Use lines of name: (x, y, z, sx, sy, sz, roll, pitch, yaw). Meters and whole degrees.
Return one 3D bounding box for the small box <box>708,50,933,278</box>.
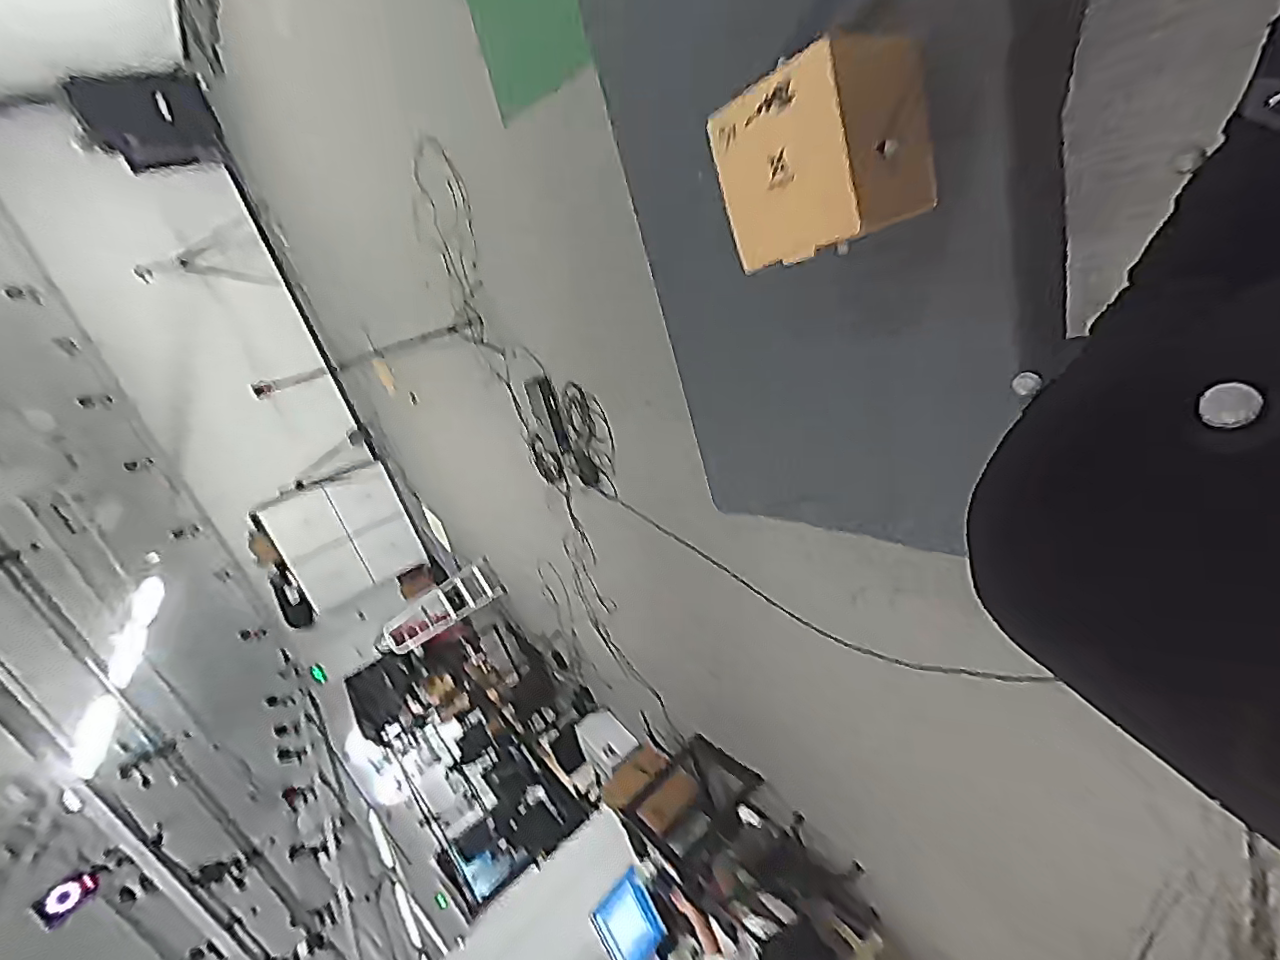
small box: (0.215, -0.366, 0.639, 0.168, 0.176, 0.179, 2, 116, 58)
